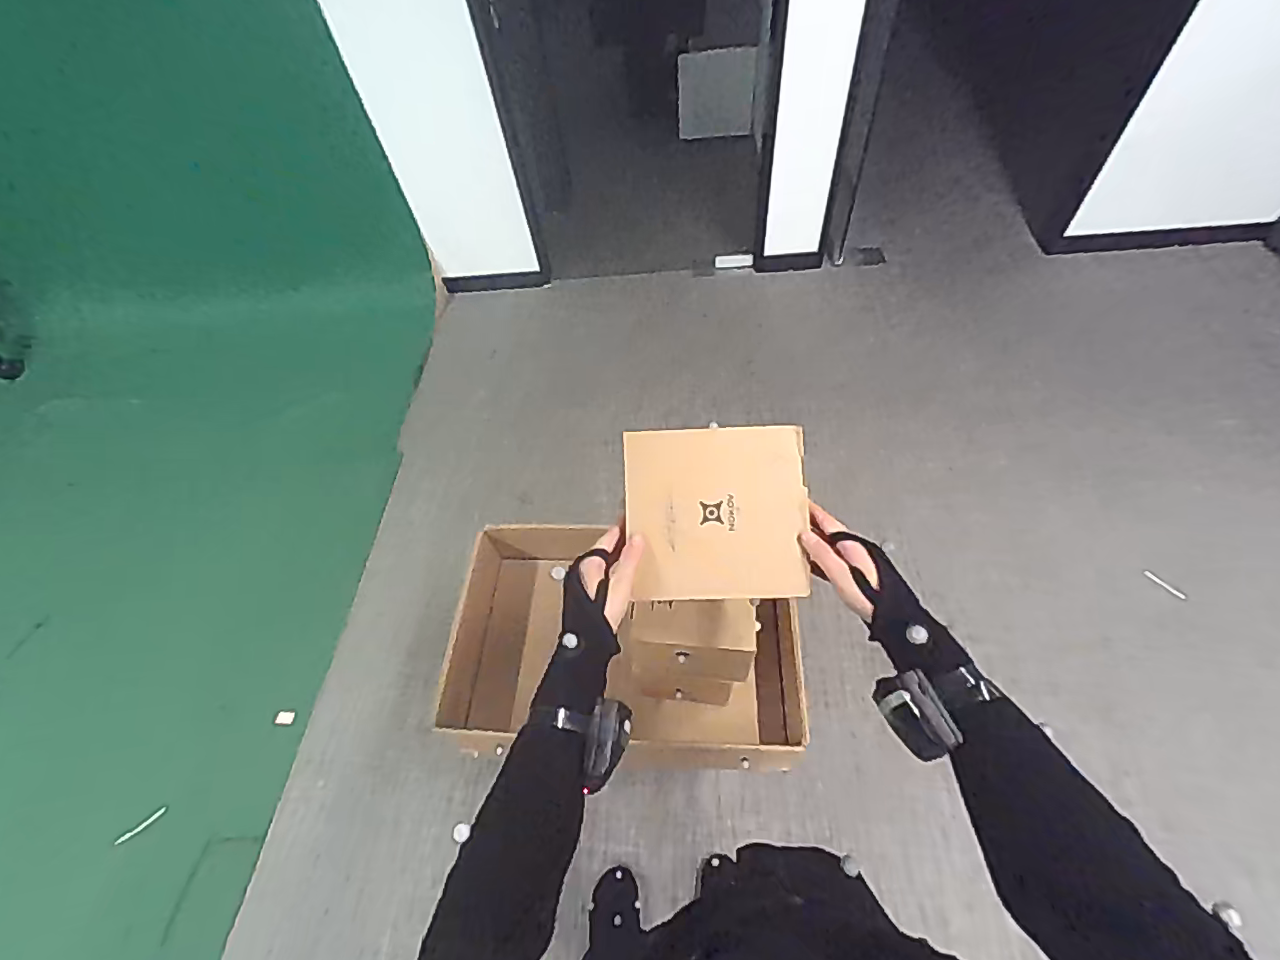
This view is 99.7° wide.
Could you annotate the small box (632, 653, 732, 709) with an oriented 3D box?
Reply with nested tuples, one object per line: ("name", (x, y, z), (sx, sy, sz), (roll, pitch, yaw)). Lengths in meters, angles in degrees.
("small box", (0.087, 0.299, 0.973), (0.168, 0.176, 0.179), (4, 55, 9))

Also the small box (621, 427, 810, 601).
("small box", (0.074, 0.039, 0.592), (0.179, 0.176, 0.168), (-2, 83, 4))

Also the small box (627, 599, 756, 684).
("small box", (0.085, 0.206, 0.837), (0.179, 0.176, 0.168), (3, 55, 8))
